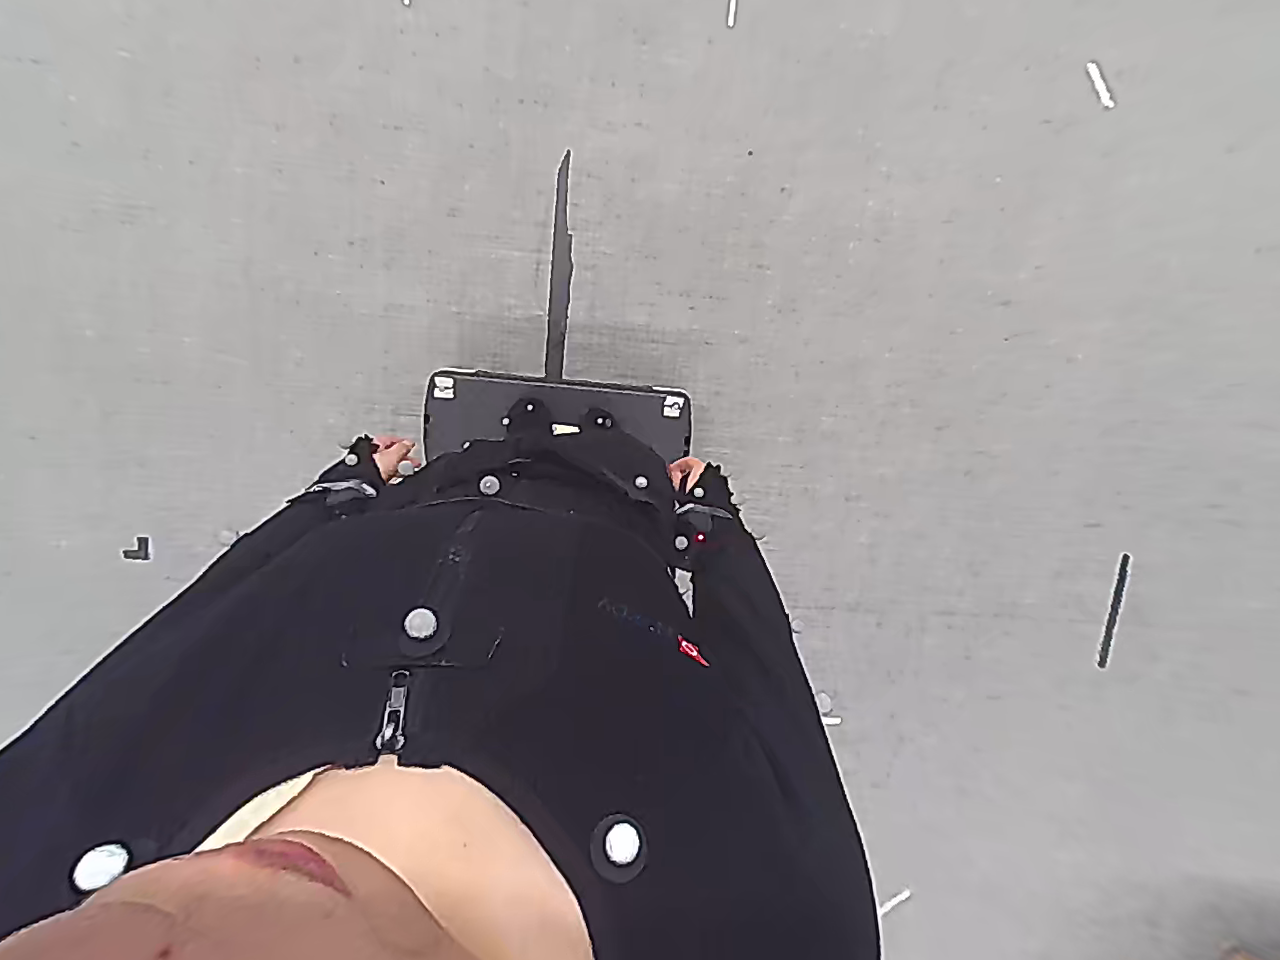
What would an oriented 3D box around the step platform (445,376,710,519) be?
[{"bbox_3d":[-0.160,-0.087,1.444,0.684,0.204,0.286,9,99,-6],"label":"step platform"}]
